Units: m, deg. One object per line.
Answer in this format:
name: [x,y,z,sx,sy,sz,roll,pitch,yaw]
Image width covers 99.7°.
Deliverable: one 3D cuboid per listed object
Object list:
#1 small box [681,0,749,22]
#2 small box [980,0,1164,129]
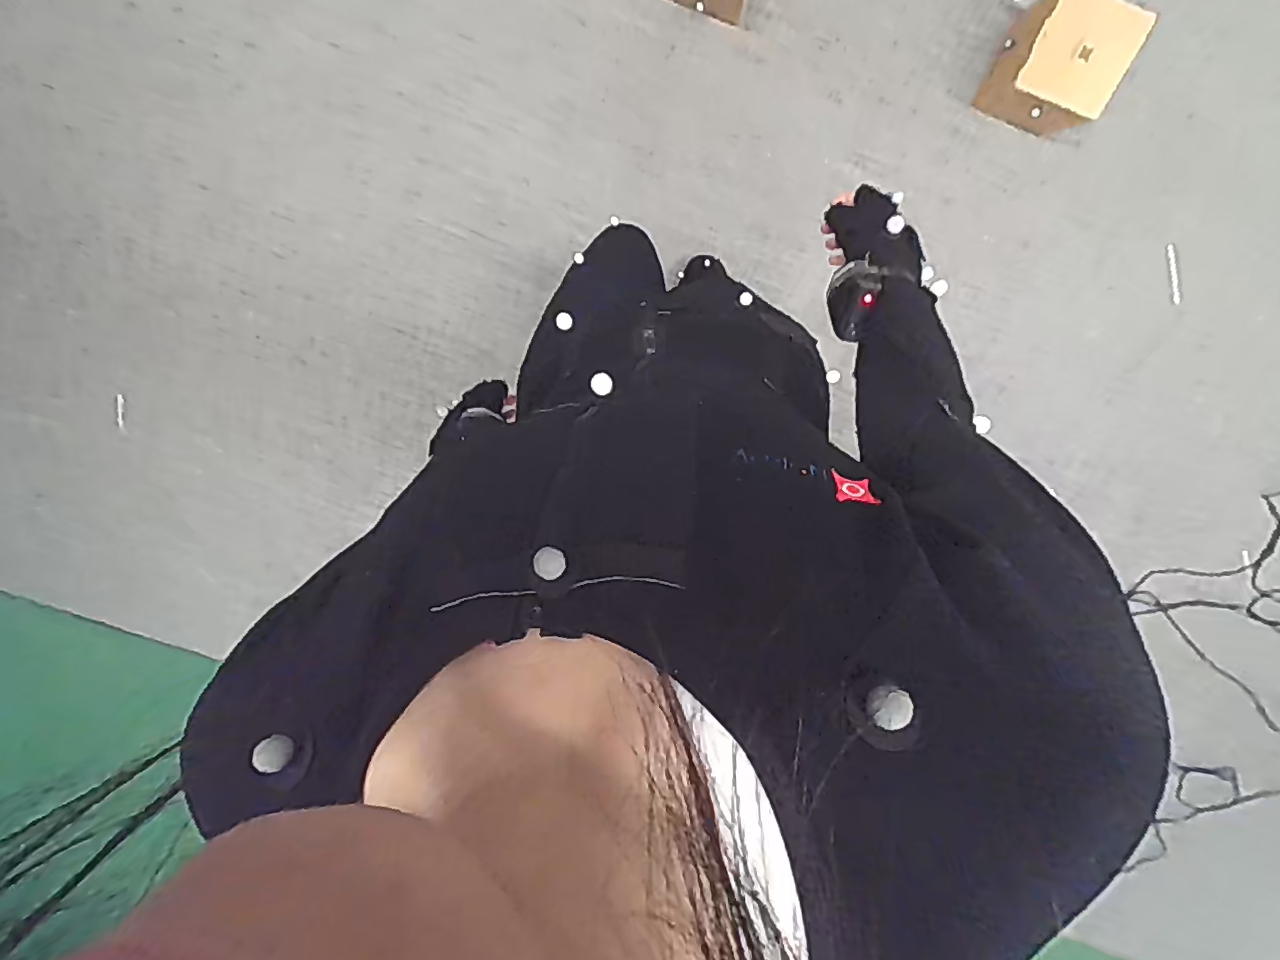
small box: [0.151,-1.004,0.996,0.168,0.176,0.179,19,114,-3]
small box: [0.803,-0.794,1.029,0.179,0.176,0.168,19,115,-3]
